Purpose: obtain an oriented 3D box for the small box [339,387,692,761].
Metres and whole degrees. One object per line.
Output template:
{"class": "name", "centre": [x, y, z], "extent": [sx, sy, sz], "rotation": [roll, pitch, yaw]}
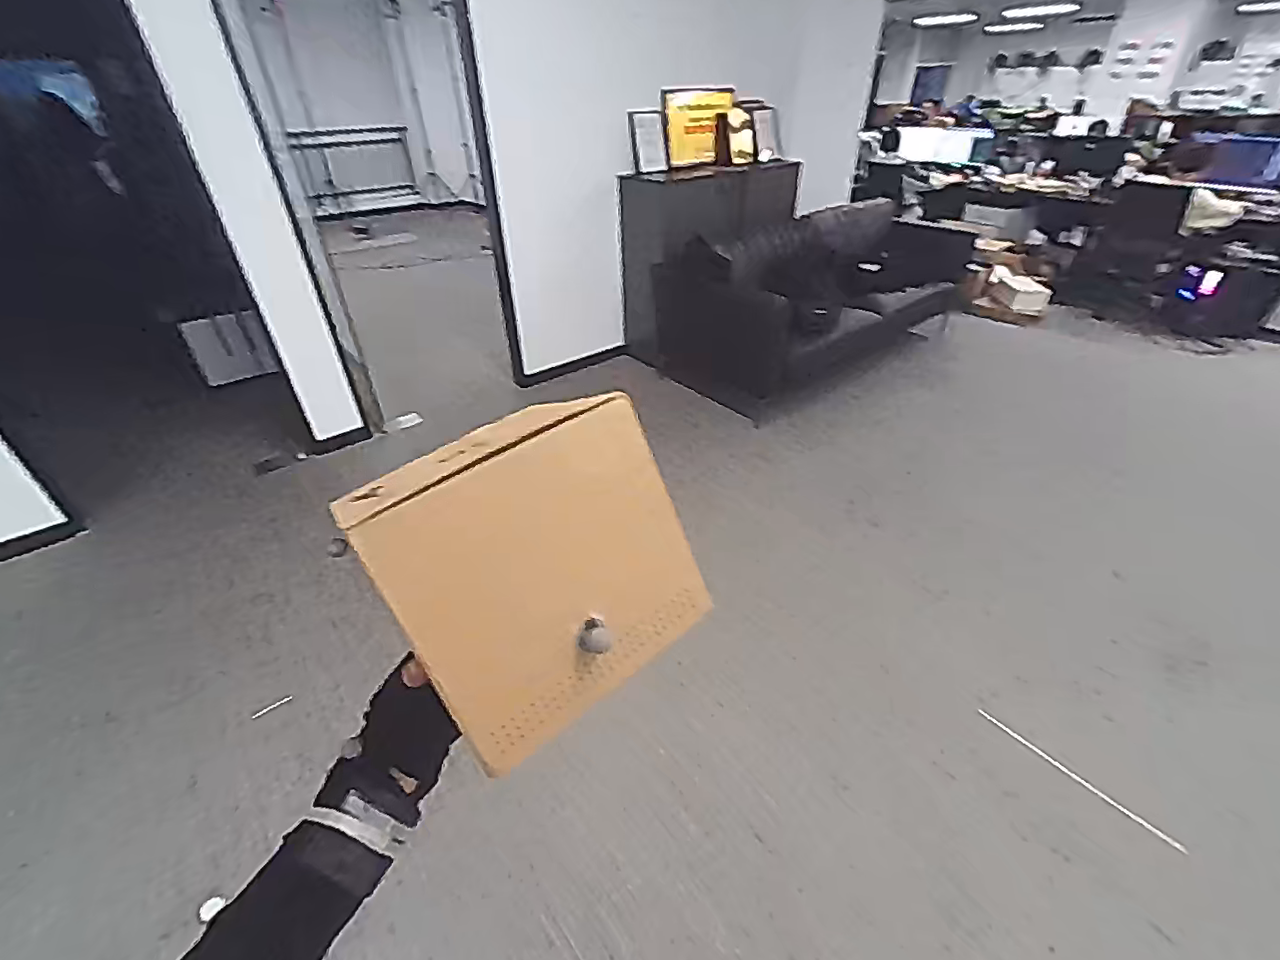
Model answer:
{"class": "small box", "centre": [-0.082, 0.048, 0.384], "extent": [0.179, 0.176, 0.168], "rotation": [-30, 17, -26]}
